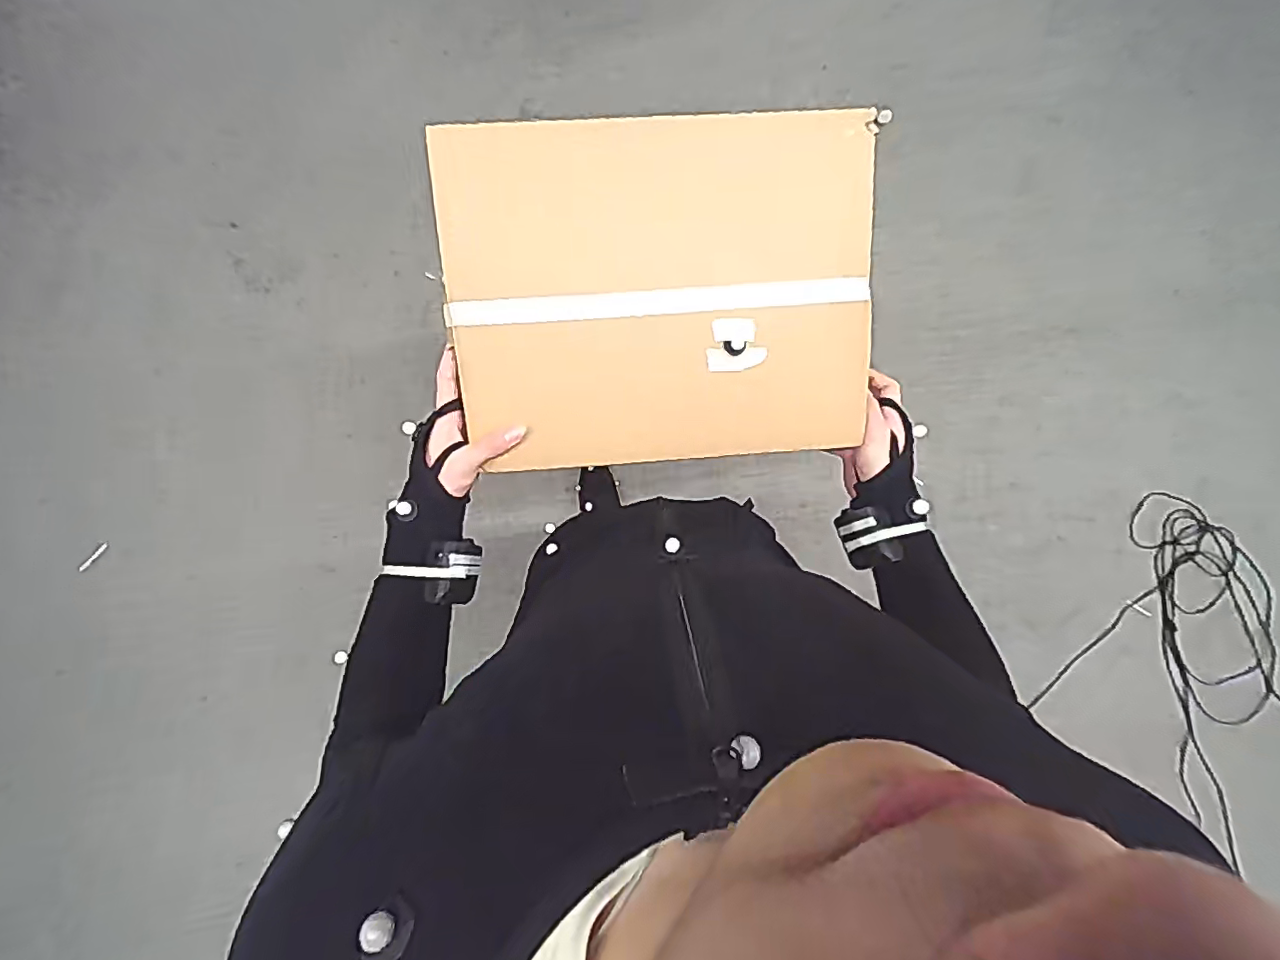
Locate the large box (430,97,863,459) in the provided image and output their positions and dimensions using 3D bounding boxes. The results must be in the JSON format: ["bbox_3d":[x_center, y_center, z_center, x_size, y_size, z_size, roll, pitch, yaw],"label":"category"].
[{"bbox_3d":[0.008,-0.222,0.668,0.408,0.320,0.320,-5,105,-4],"label":"large box"}]
